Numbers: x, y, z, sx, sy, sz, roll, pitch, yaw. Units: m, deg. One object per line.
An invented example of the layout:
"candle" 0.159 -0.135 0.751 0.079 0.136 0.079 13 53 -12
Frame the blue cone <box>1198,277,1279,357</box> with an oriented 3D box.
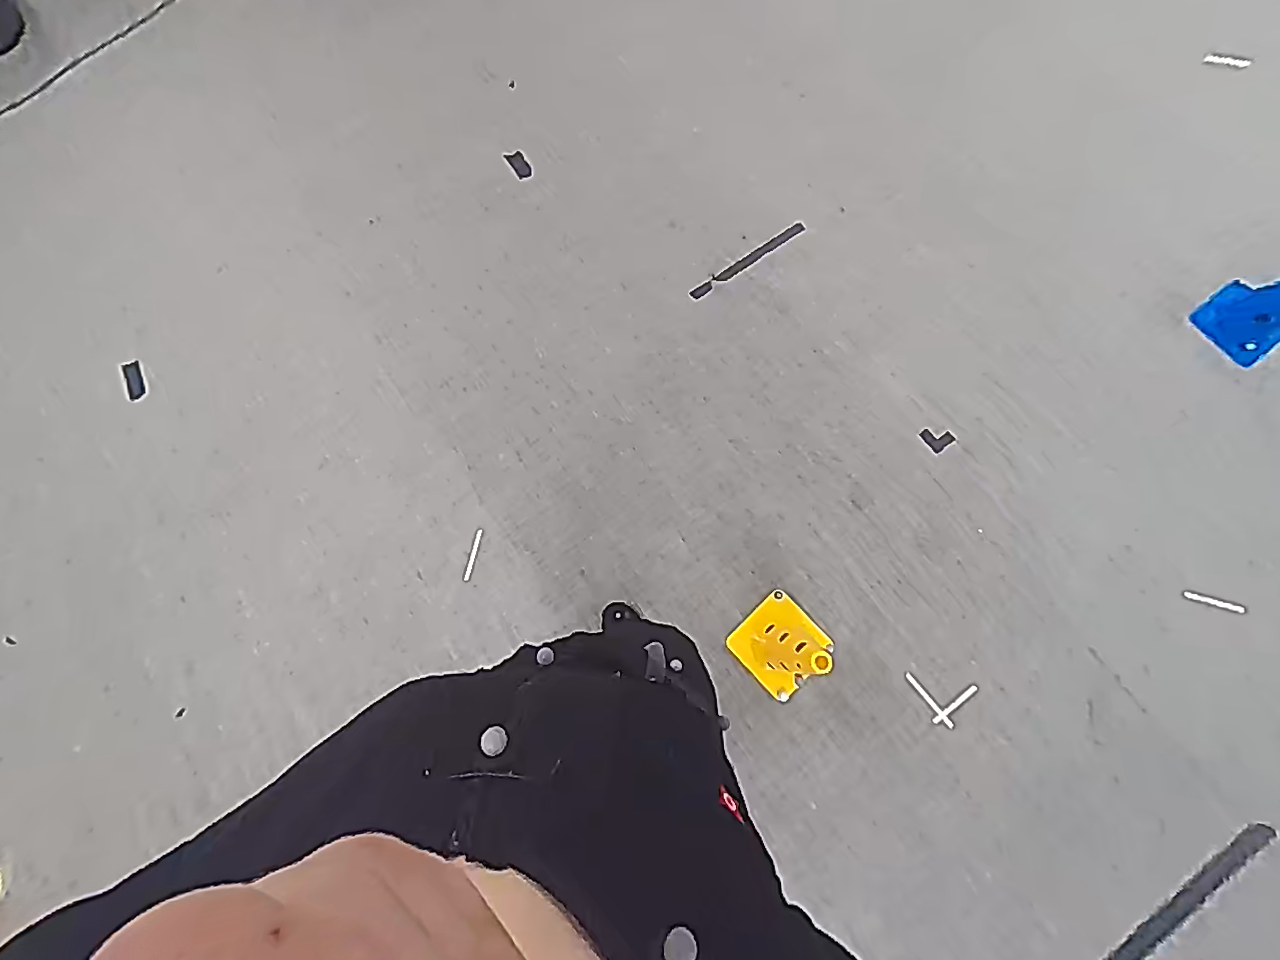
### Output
"blue cone" 1.623 -0.473 1.295 0.193 0.380 0.192 -35 78 -5
